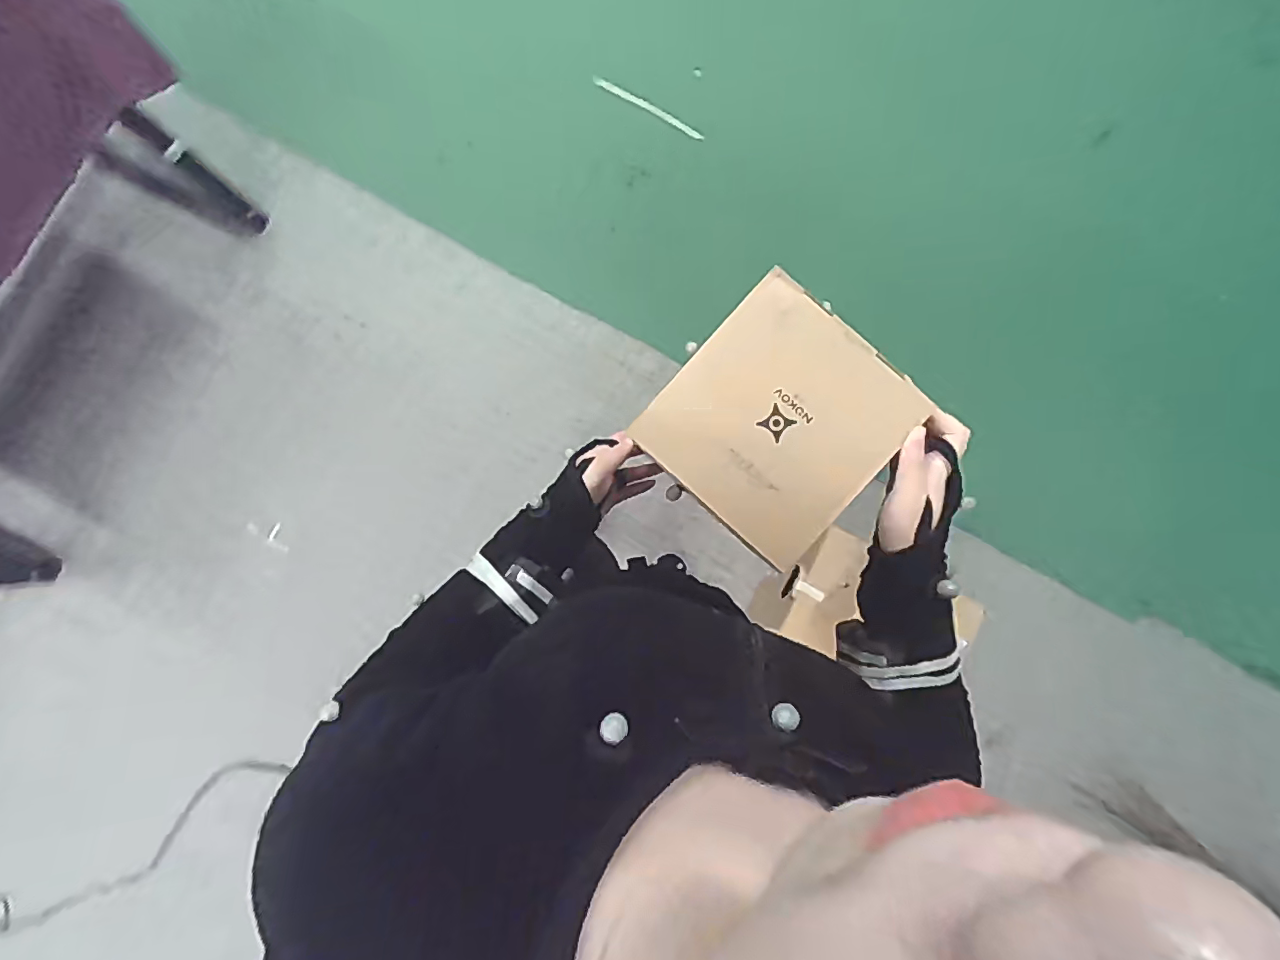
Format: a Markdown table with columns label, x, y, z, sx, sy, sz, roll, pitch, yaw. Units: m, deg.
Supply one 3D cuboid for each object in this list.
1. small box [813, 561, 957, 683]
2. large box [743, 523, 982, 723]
| label | x | y | z | sx | sy | sz | roll | pitch | yaw |
| --- | --- | --- | --- | --- | --- | --- | --- | --- | --- |
| small box | 0.497 | 0.281 | 1.123 | 0.179 | 0.176 | 0.168 | 39 | 84 | 2 |
| large box | 0.530 | 0.333 | 1.365 | 0.408 | 0.320 | 0.320 | 29 | 85 | 0 |
